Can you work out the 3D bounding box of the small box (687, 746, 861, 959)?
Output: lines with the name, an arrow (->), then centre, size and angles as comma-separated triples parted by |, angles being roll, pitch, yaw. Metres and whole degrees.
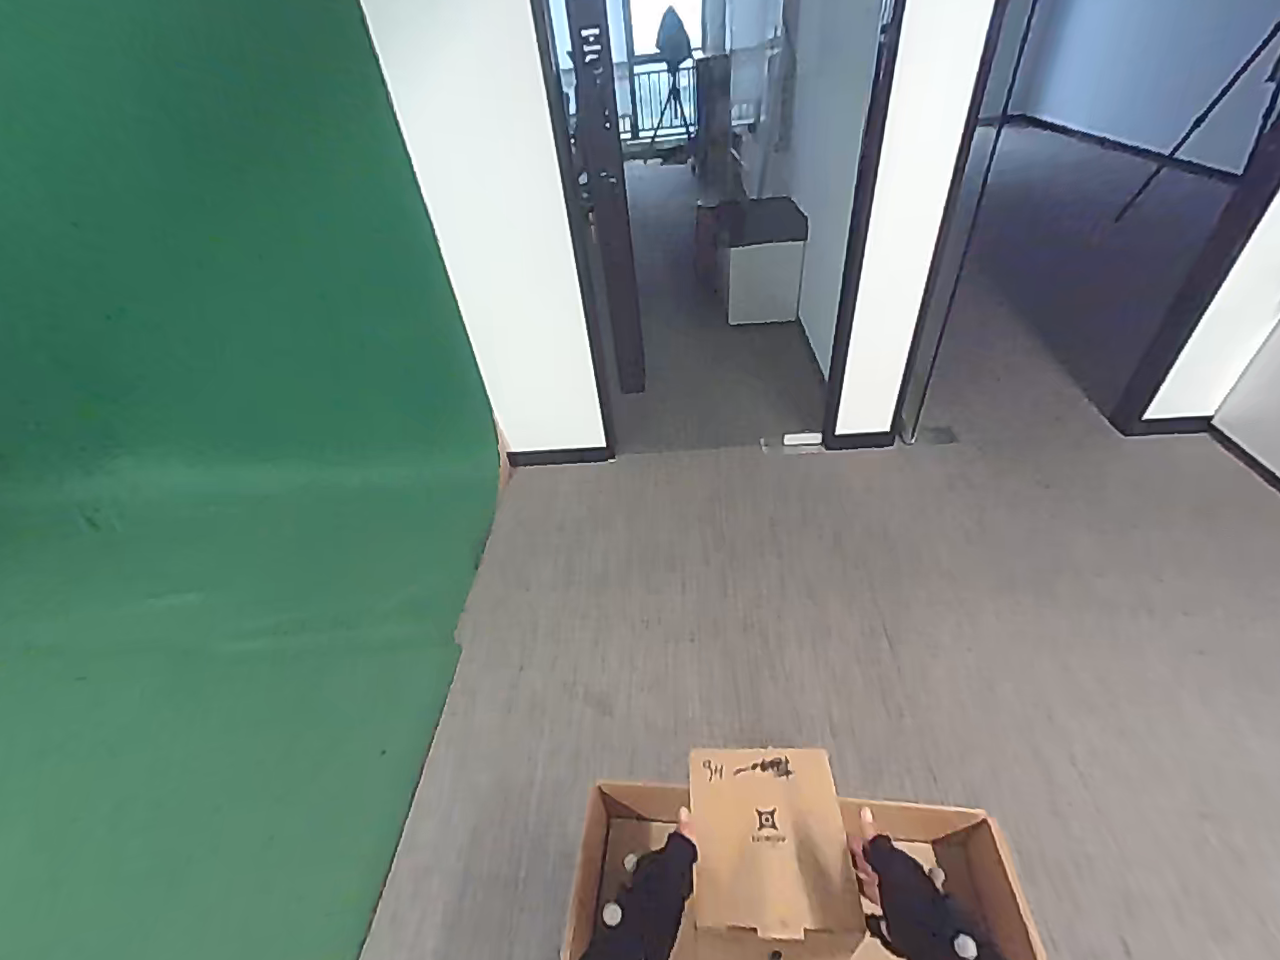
small box -> 0.142, 0.436, 0.631 | 0.168, 0.176, 0.179 | -2, 38, 5
